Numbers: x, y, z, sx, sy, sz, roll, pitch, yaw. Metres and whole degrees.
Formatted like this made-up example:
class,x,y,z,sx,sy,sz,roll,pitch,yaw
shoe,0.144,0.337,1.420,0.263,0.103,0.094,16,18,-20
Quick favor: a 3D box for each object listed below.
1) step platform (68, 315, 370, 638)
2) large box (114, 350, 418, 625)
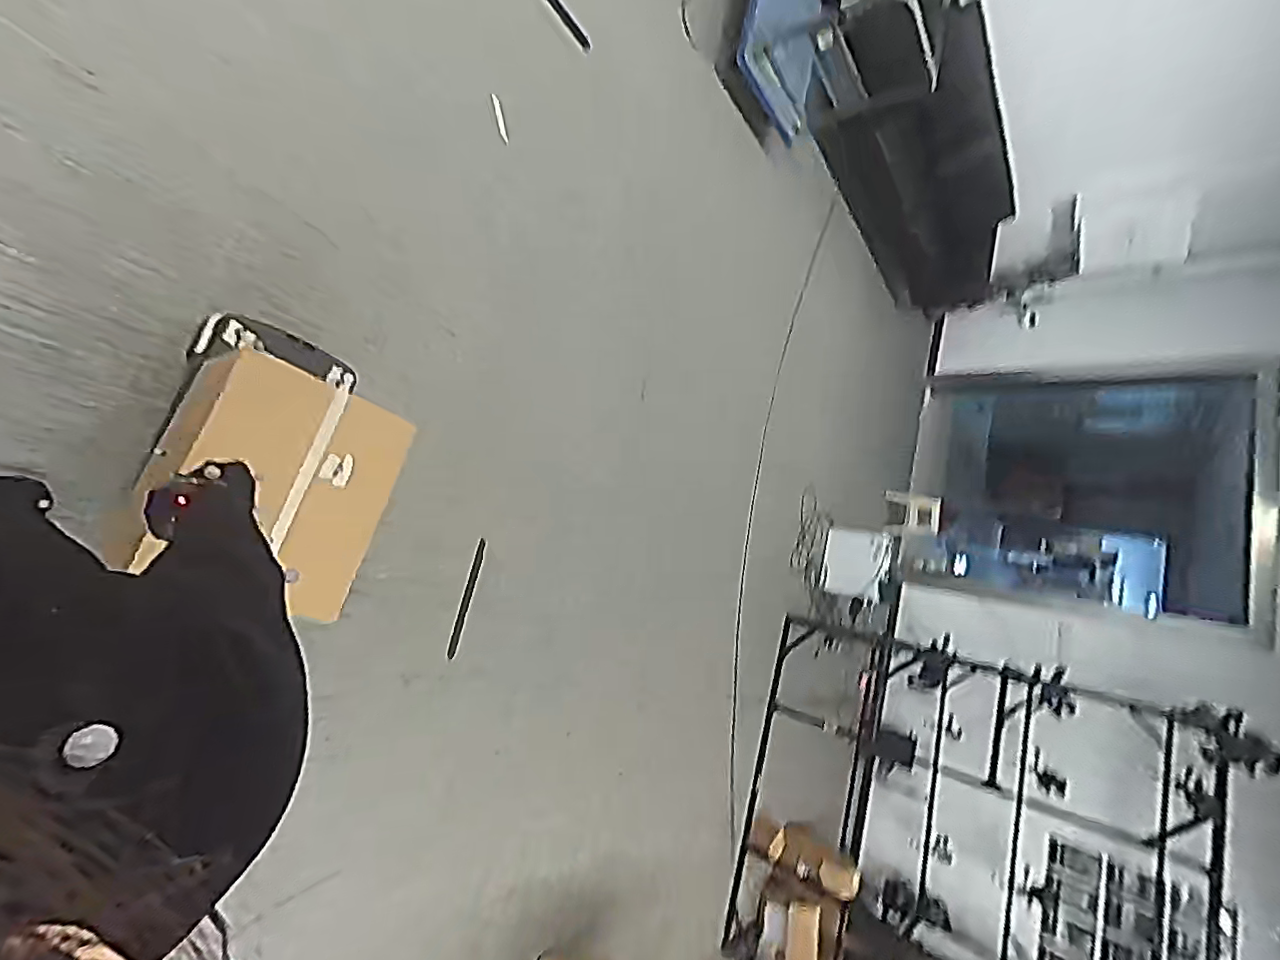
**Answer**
class,x,y,z,sx,sy,sz,roll,pitch,yaw
step platform,-0.877,-0.012,1.175,0.286,0.204,0.684,35,67,-45
large box,-0.696,0.024,1.023,0.320,0.320,0.408,32,69,-46
